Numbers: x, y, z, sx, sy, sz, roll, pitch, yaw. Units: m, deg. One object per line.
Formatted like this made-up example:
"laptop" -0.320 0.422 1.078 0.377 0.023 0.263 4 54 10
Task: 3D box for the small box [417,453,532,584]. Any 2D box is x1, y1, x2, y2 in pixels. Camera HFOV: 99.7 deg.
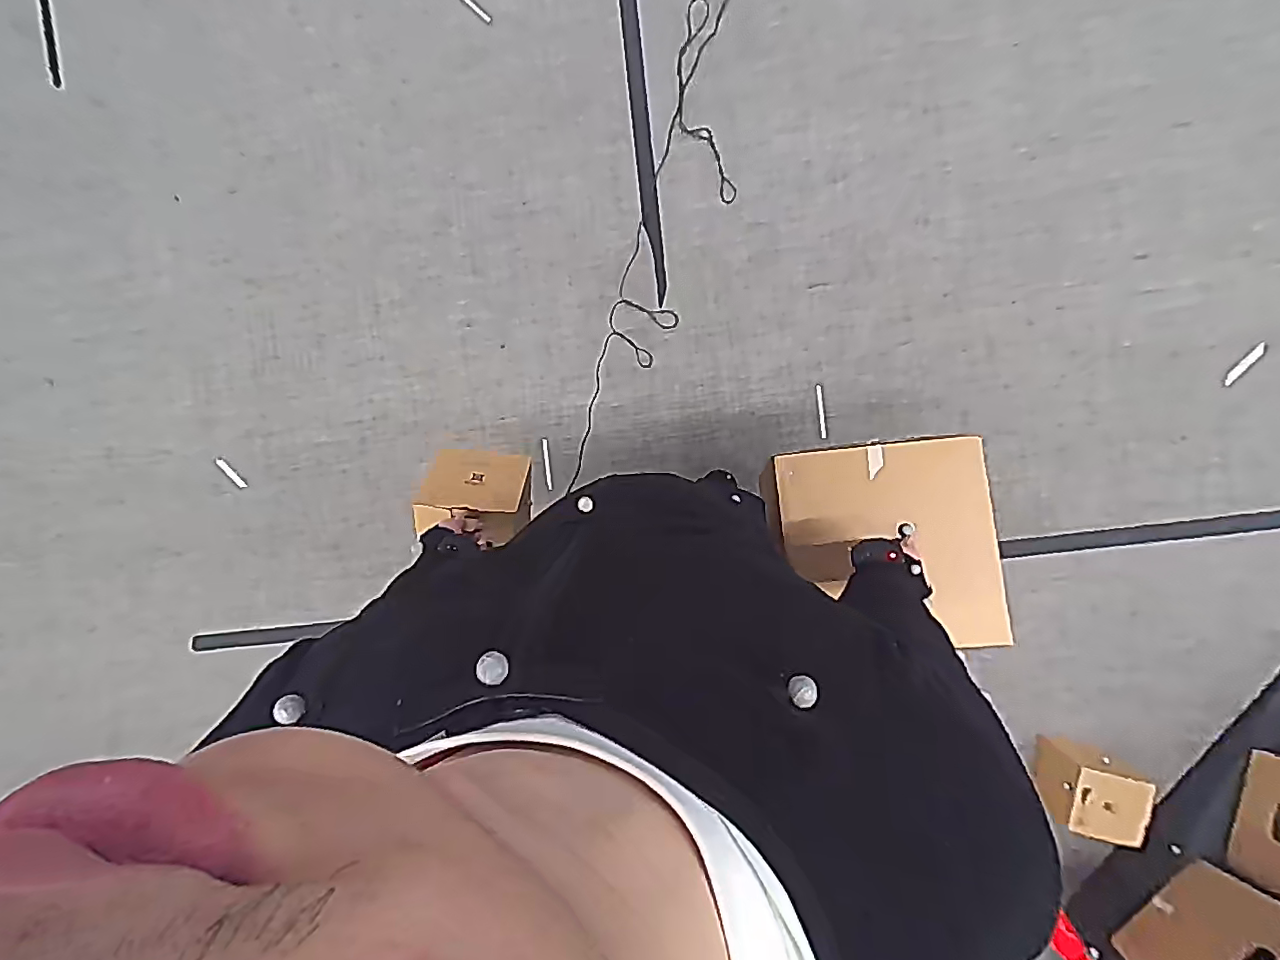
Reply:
"small box" -0.293 0.072 0.995 0.168 0.179 0.176 6 123 -6
